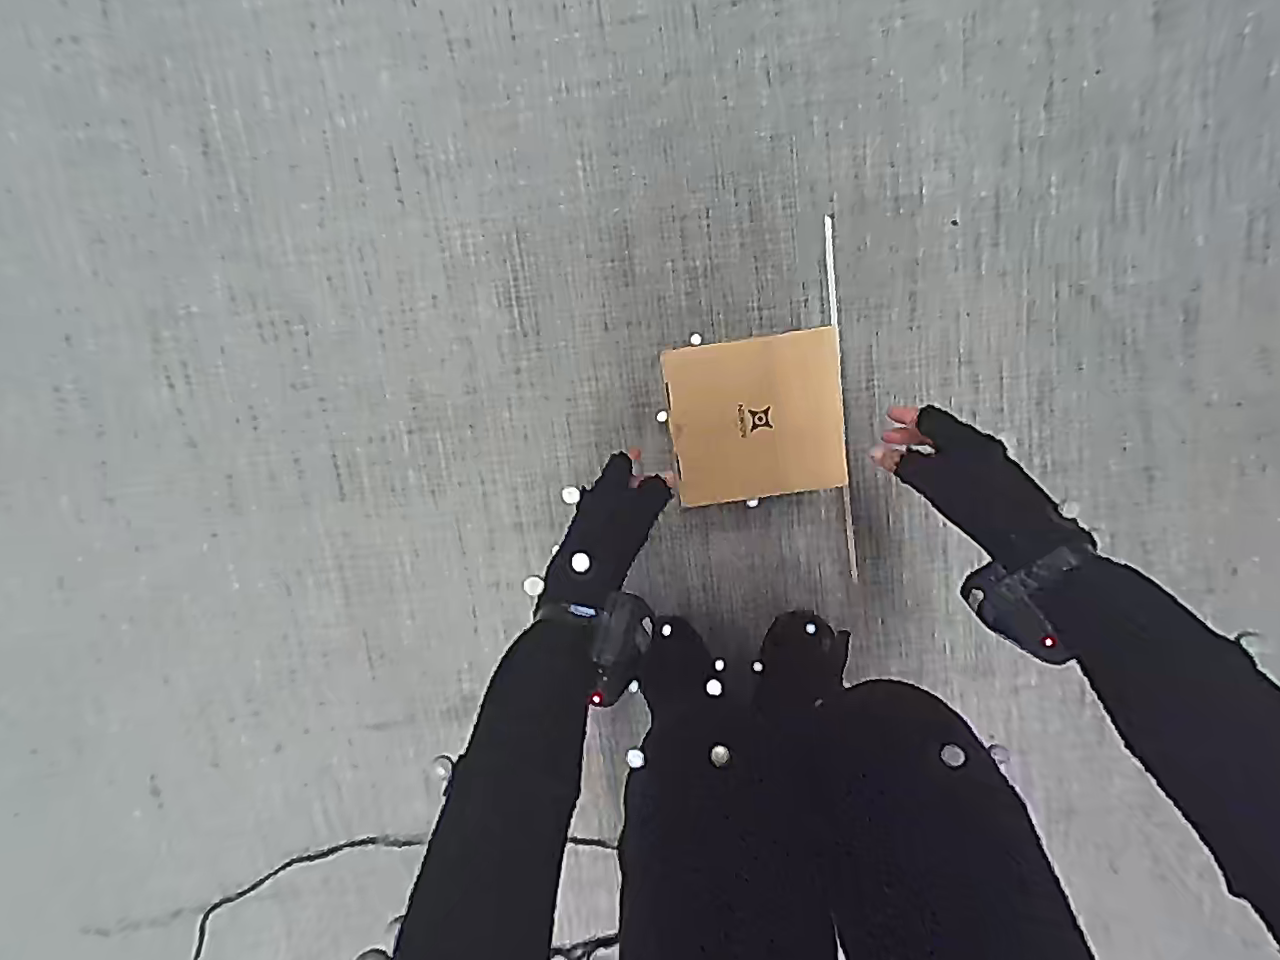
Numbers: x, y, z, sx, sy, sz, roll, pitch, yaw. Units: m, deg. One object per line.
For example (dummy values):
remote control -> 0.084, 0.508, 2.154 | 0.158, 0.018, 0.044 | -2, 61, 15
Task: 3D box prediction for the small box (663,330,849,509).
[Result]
small box -> 0.124, -0.073, 0.631 | 0.179, 0.176, 0.168 | -9, 98, 4
